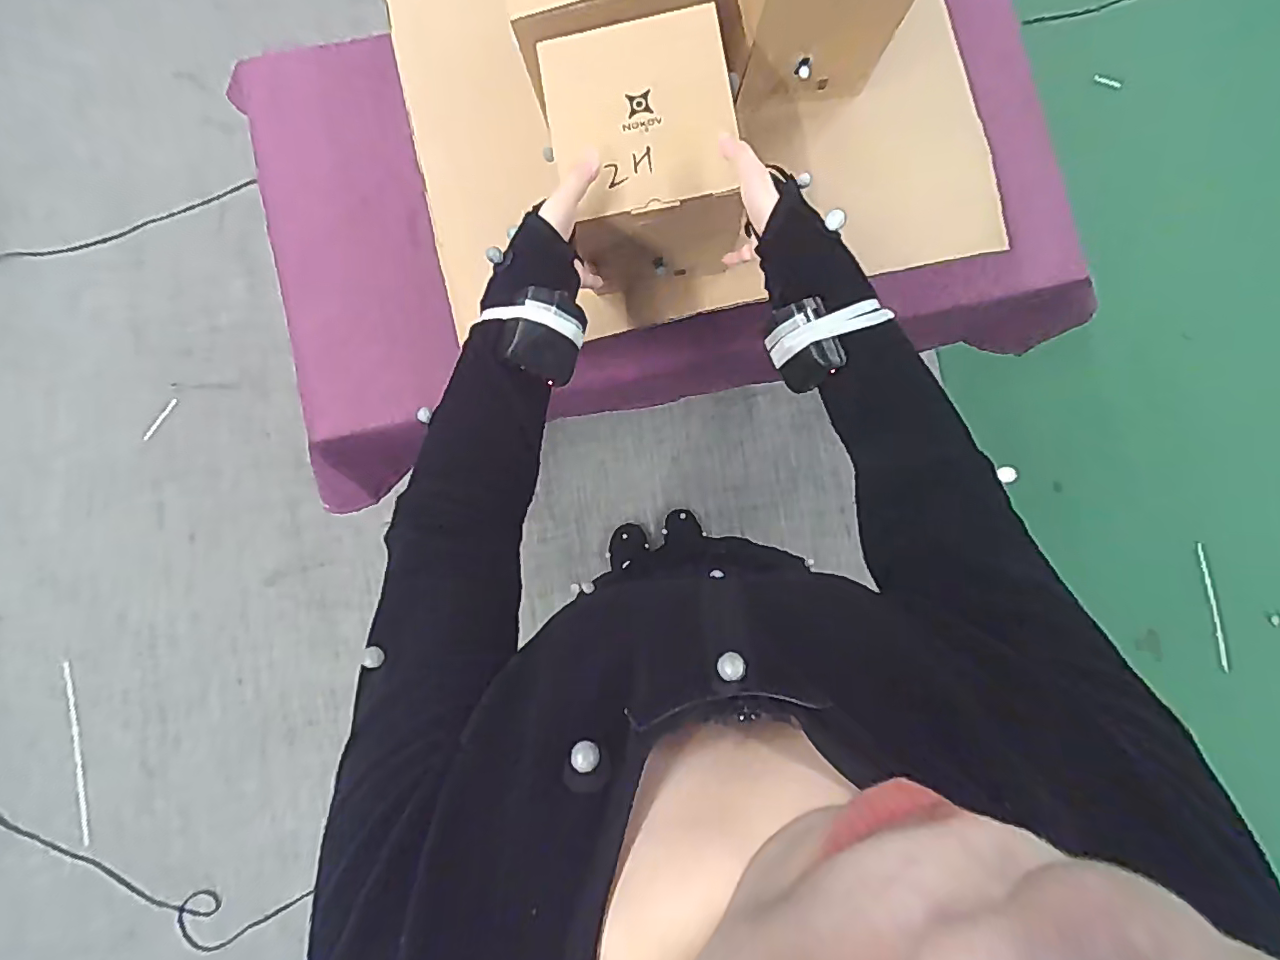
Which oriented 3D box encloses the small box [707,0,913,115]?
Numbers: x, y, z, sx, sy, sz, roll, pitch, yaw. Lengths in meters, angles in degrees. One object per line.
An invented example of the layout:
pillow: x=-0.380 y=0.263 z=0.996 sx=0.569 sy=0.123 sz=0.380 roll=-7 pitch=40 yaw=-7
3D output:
small box: x=0.178 y=-0.550 z=0.593 sx=0.168 sy=0.176 sz=0.179 roll=-11 pitch=87 yaw=-4
